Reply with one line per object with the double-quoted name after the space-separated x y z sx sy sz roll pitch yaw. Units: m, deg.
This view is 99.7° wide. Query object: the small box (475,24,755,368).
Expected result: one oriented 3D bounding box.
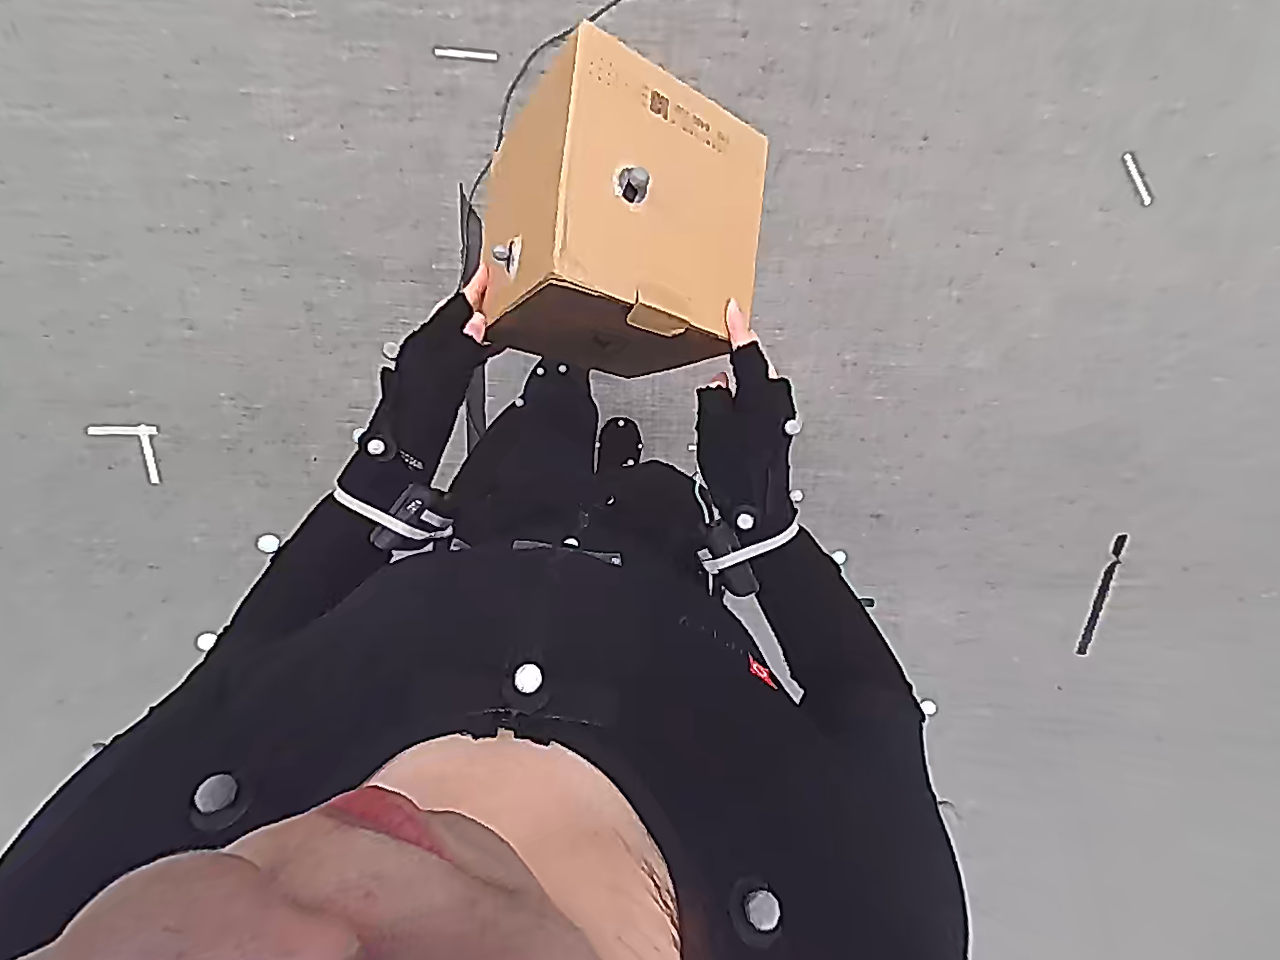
-0.021 -0.204 0.442 0.168 0.179 0.176 9 86 -34 "small box"
